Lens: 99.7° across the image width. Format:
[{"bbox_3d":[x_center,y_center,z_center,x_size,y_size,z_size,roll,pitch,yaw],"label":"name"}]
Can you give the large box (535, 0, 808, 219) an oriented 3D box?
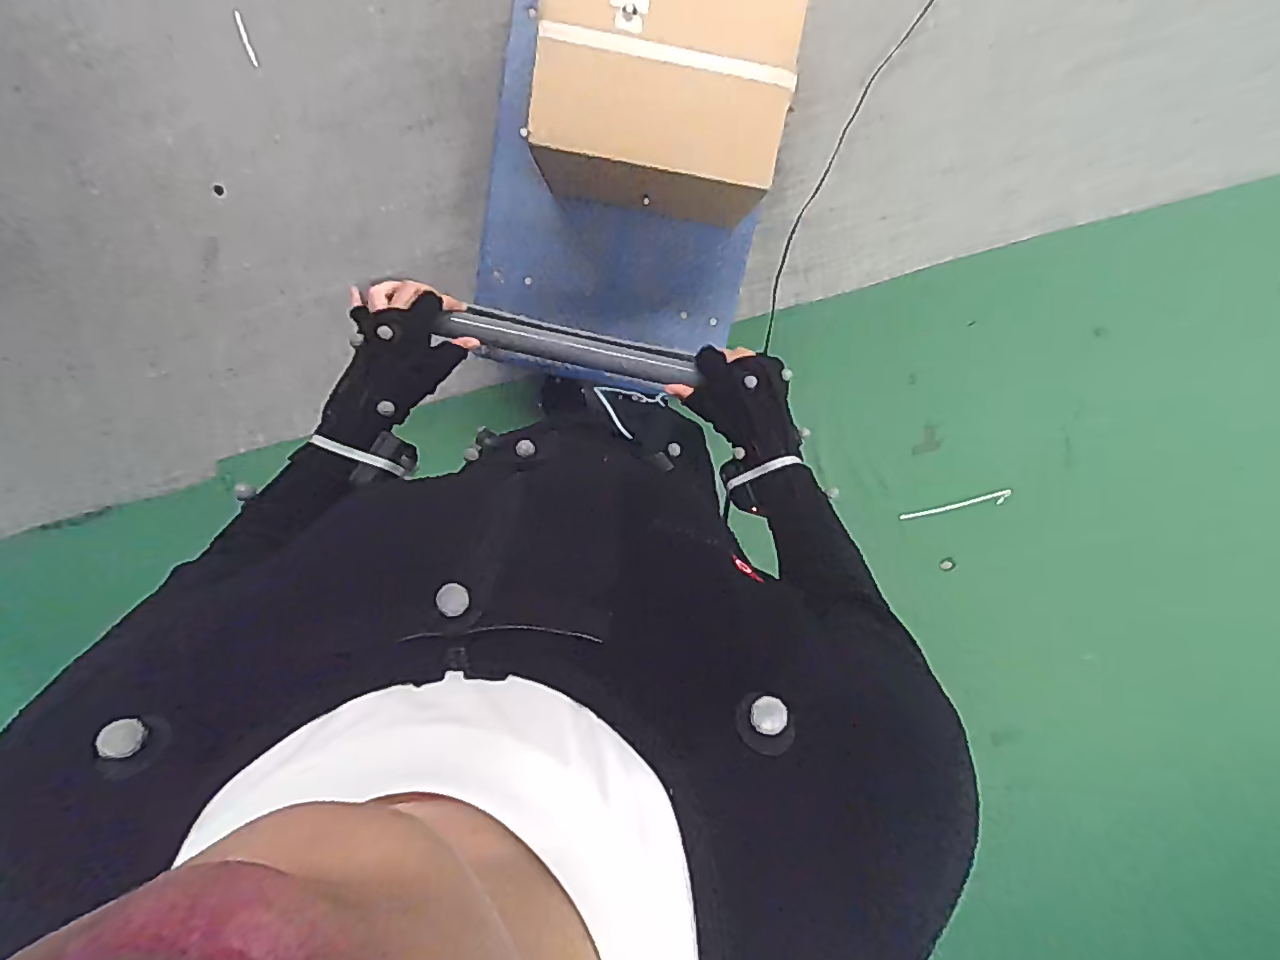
[{"bbox_3d":[0.047,-0.696,0.986,0.408,0.320,0.320,8,103,-3],"label":"large box"}]
